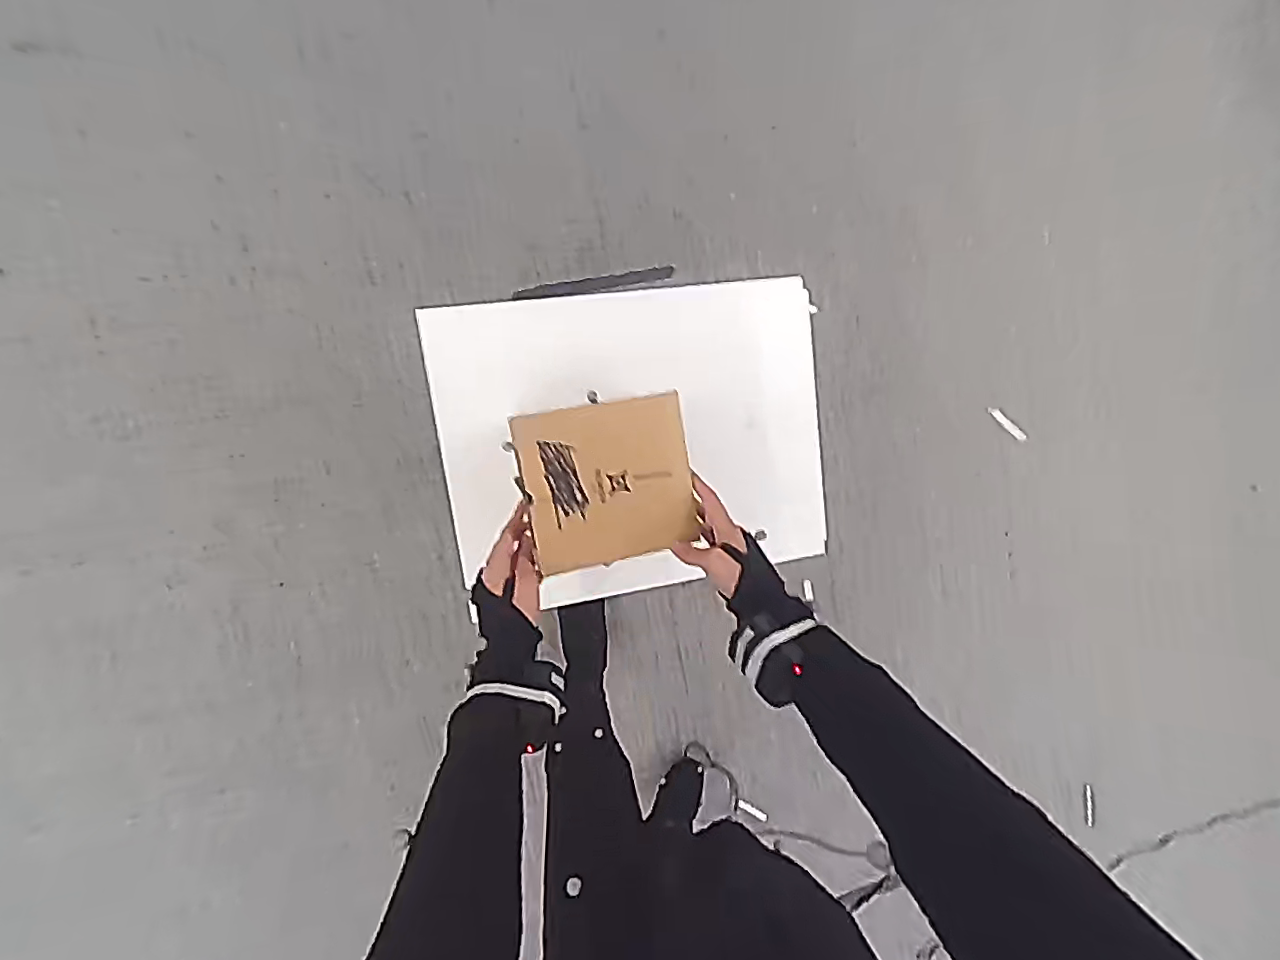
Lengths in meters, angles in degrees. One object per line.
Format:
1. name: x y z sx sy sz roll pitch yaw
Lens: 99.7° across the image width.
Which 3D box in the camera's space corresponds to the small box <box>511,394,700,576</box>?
1. small box: -0.048 -0.002 0.632 0.179 0.176 0.168 -11 98 -12
